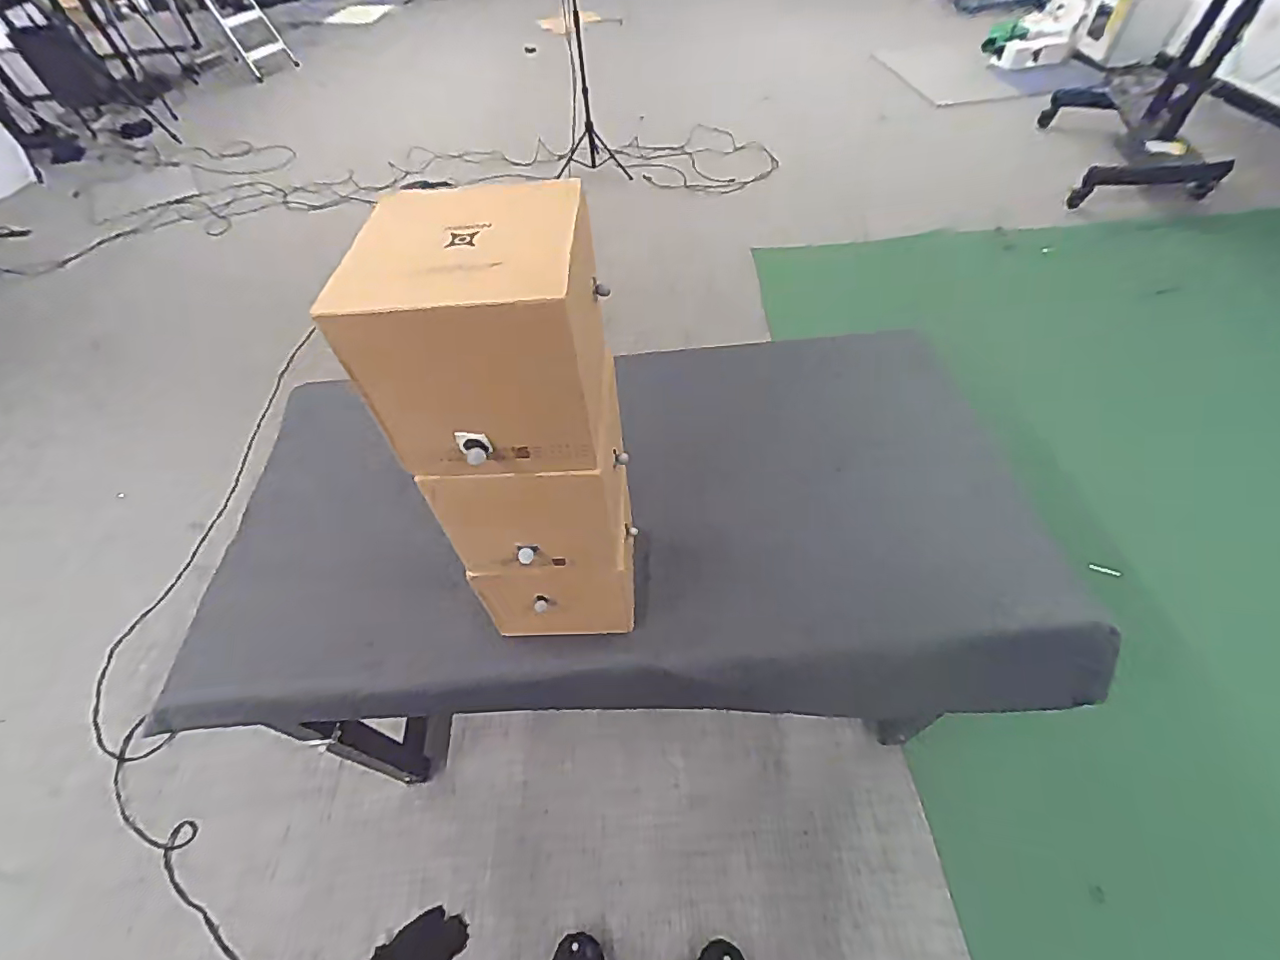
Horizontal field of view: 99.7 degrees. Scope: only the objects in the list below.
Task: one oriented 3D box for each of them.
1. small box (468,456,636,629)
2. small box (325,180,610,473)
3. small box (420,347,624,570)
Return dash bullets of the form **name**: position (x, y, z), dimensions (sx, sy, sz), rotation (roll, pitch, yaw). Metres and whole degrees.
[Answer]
- **small box**: position (-0.100, 0.085, 0.705), dimensions (0.179, 0.176, 0.168), rotation (-2, 52, 3)
- **small box**: position (-0.117, -0.125, 0.455), dimensions (0.168, 0.176, 0.179), rotation (-3, 52, 3)
- **small box**: position (-0.106, -0.022, 0.580), dimensions (0.168, 0.176, 0.179), rotation (0, 52, 3)
